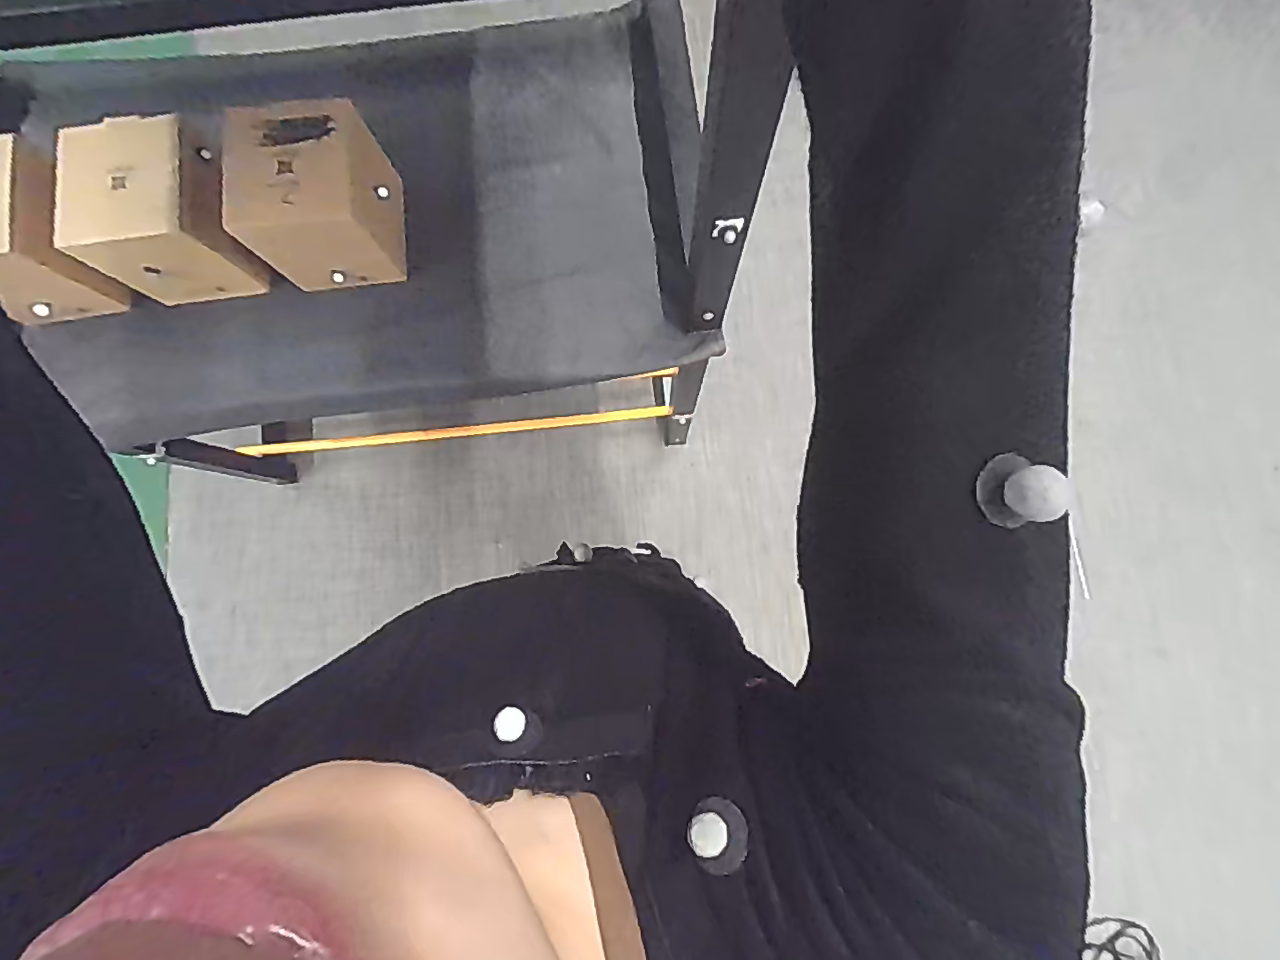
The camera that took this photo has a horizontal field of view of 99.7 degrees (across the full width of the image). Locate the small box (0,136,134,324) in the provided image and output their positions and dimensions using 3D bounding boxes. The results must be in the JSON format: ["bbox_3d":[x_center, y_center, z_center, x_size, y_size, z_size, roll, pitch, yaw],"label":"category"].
[{"bbox_3d":[-0.889,-0.351,0.784,0.168,0.176,0.179,-8,82,0],"label":"small box"}]
